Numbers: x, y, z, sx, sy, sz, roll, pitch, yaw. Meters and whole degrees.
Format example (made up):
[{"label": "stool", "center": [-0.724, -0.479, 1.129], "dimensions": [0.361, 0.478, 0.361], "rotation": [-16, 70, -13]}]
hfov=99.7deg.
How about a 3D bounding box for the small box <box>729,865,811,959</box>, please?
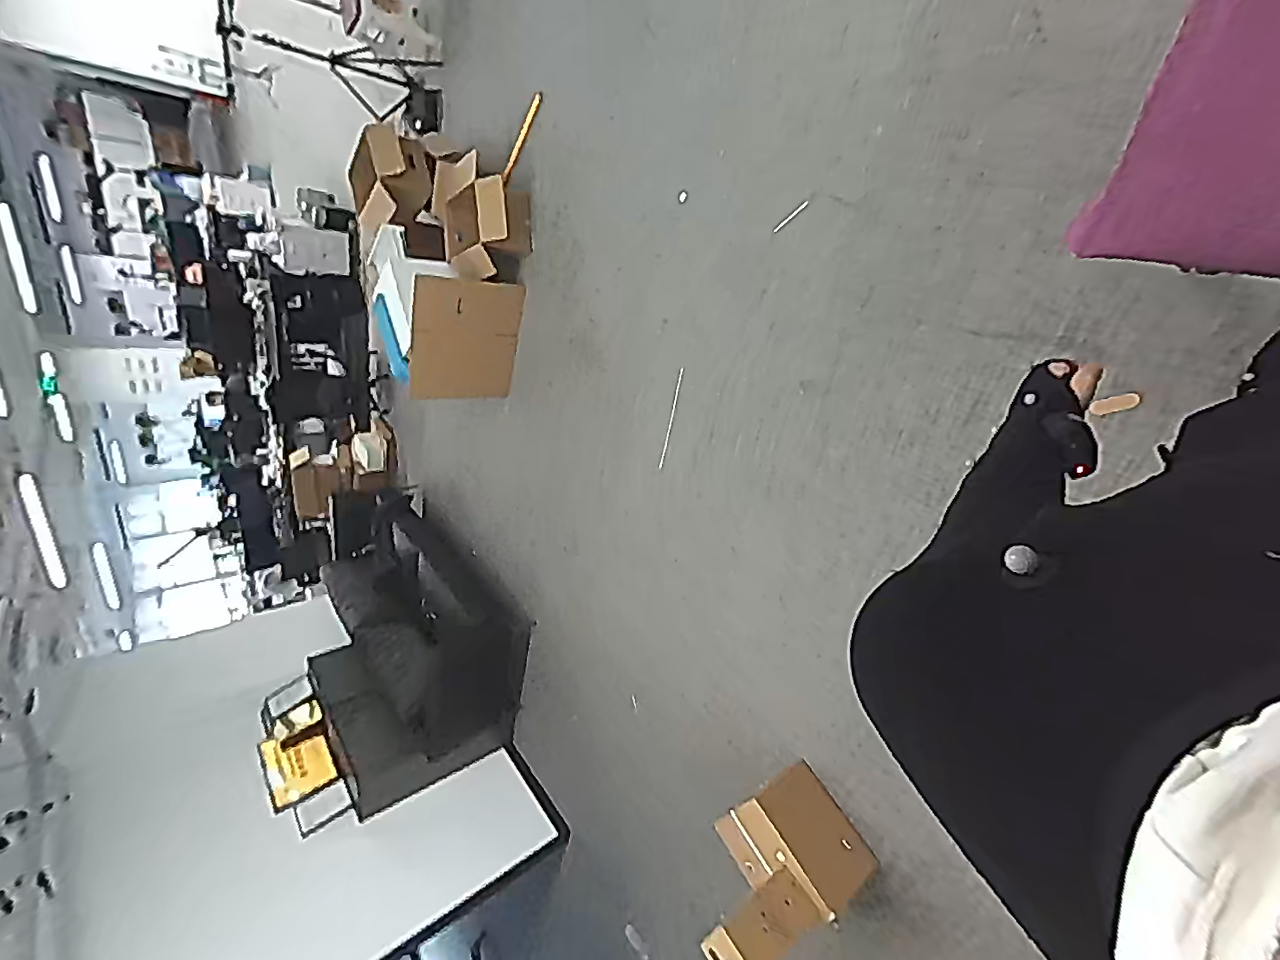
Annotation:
[{"label": "small box", "center": [0.435, 1.424, 1.786], "dimensions": [0.168, 0.176, 0.179], "rotation": [46, 128, 33]}]
